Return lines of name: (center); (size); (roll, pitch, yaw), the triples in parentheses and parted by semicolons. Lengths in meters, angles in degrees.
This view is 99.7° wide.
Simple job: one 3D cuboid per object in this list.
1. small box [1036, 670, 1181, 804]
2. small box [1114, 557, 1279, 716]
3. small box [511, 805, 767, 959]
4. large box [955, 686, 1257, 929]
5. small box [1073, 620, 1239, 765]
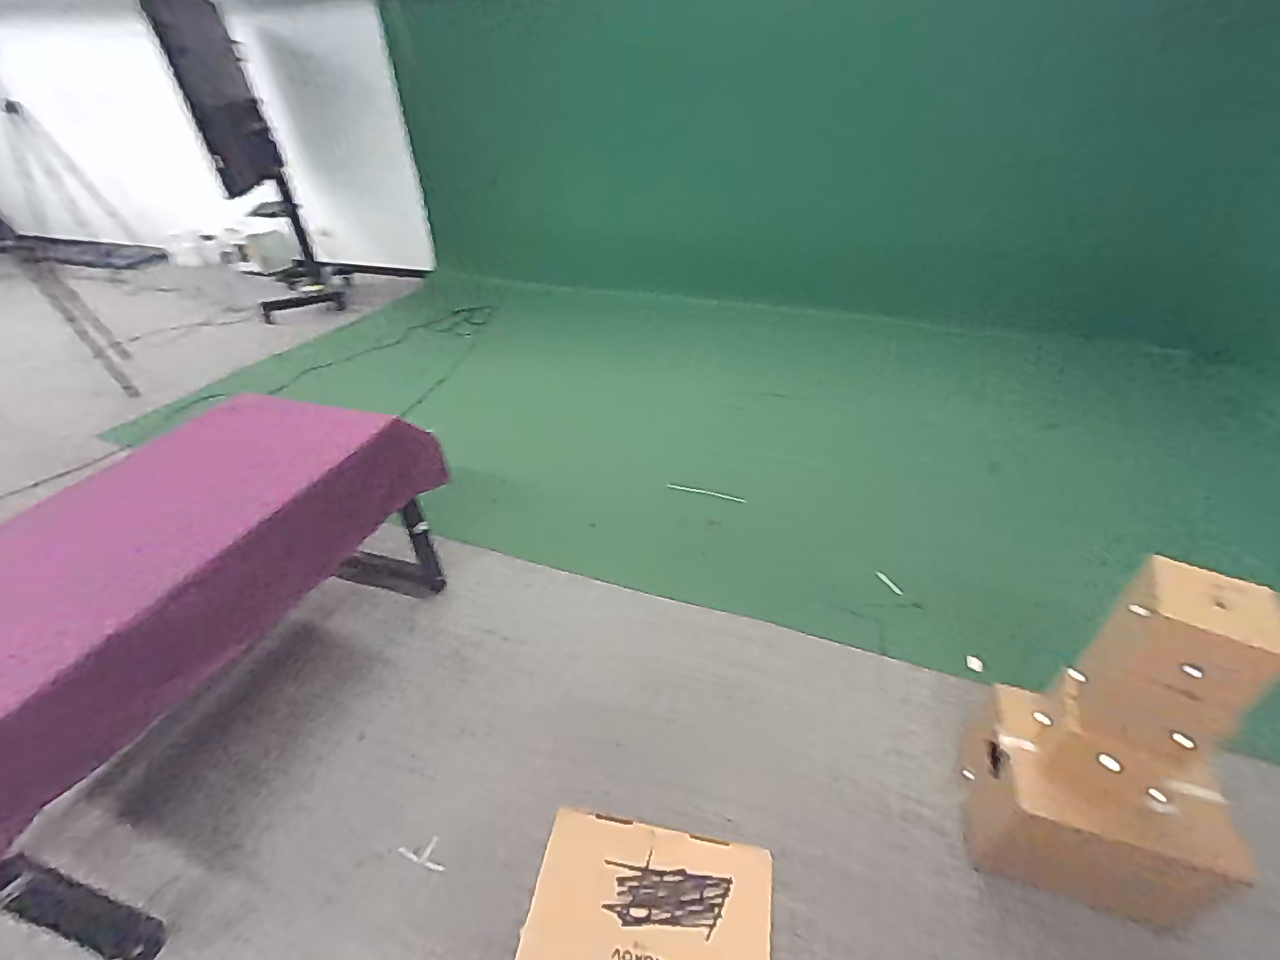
small box: (0.974, 0.546, 1.142); (0.179, 0.176, 0.168); (18, 40, 25)
small box: (0.980, 0.276, 0.957); (0.168, 0.176, 0.179); (22, 41, 27)
small box: (0.001, 0.378, 0.401); (0.168, 0.176, 0.179); (4, 43, 12)
large box: (1.024, 0.753, 1.269); (0.408, 0.320, 0.320); (12, 39, 15)
small box: (0.982, 0.414, 1.046); (0.179, 0.176, 0.168); (20, 41, 28)
